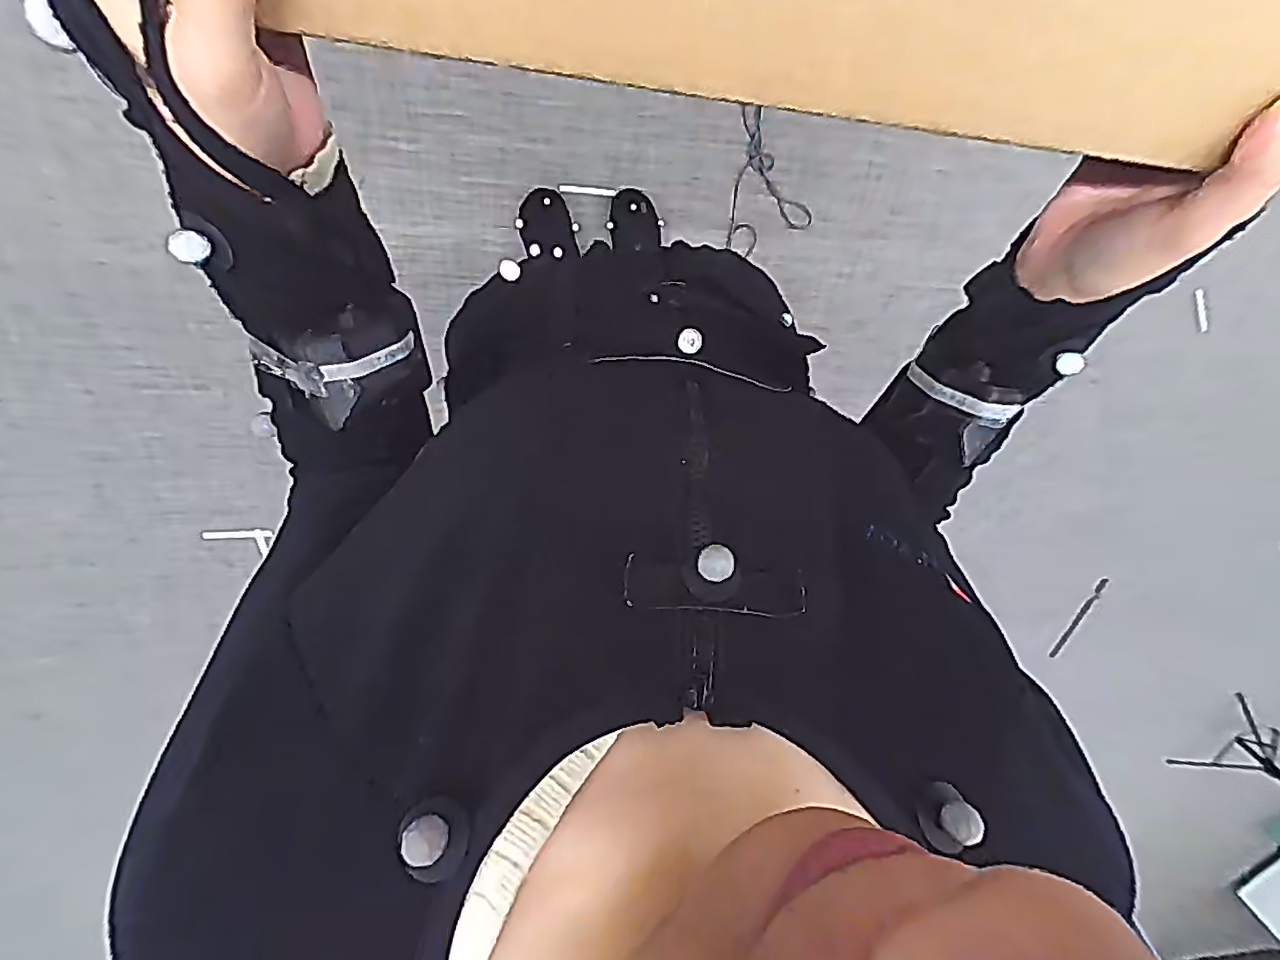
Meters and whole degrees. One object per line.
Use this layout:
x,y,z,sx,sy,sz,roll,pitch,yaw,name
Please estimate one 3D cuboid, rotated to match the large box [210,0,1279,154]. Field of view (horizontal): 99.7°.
0.070,-0.347,0.164,0.408,0.320,0.320,2,144,-8,large box
